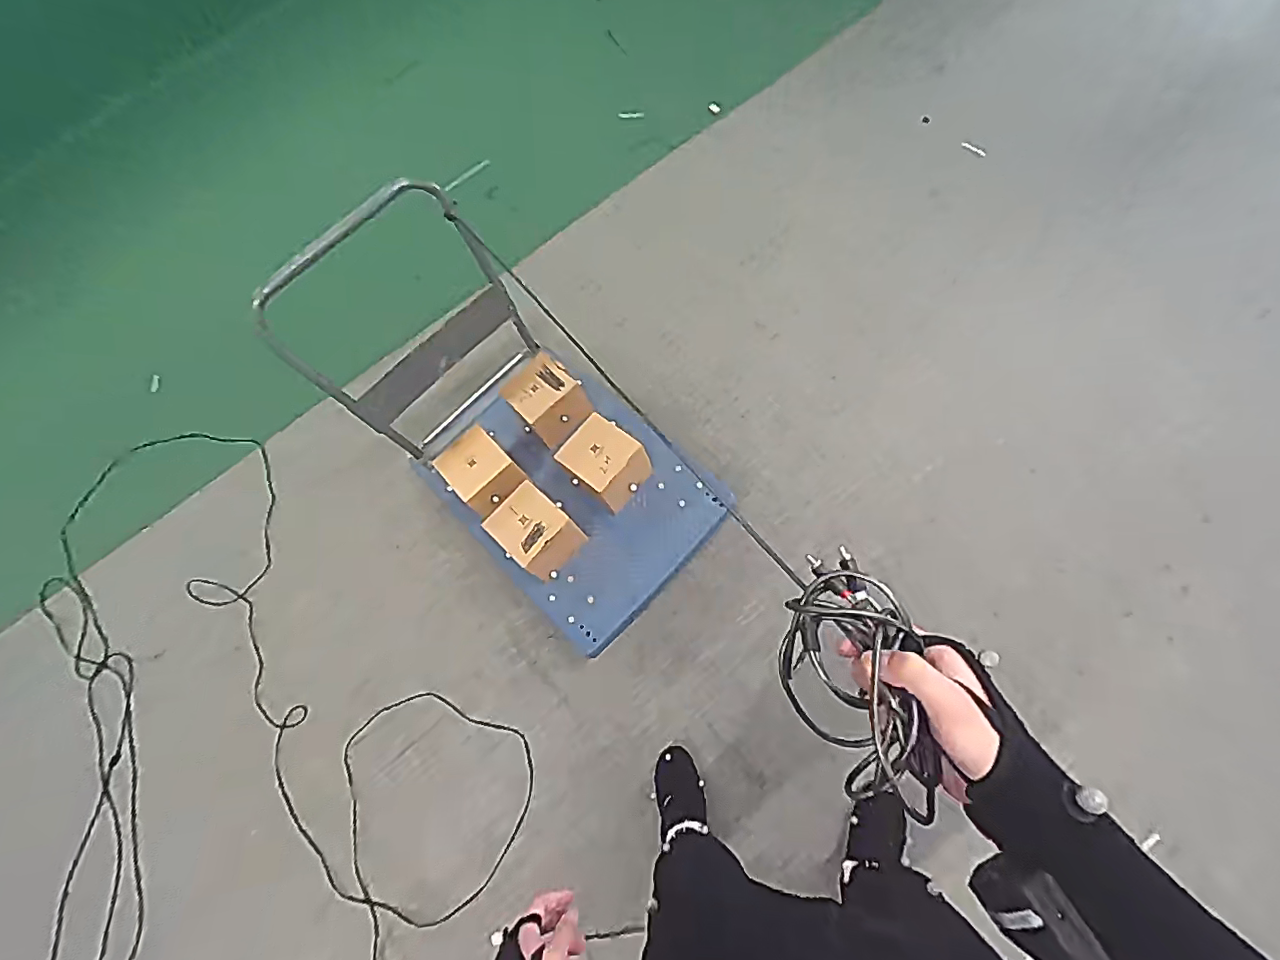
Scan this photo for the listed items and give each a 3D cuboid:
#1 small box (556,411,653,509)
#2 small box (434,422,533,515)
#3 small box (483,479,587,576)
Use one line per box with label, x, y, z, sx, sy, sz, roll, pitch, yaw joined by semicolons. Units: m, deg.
small box;-0.089;-0.047;1.453;0.179;0.176;0.168;37;79;24
small box;-0.431;-0.023;1.518;0.168;0.176;0.179;-43;65;-8
small box;-0.266;0.133;1.414;0.179;0.176;0.168;39;79;25
